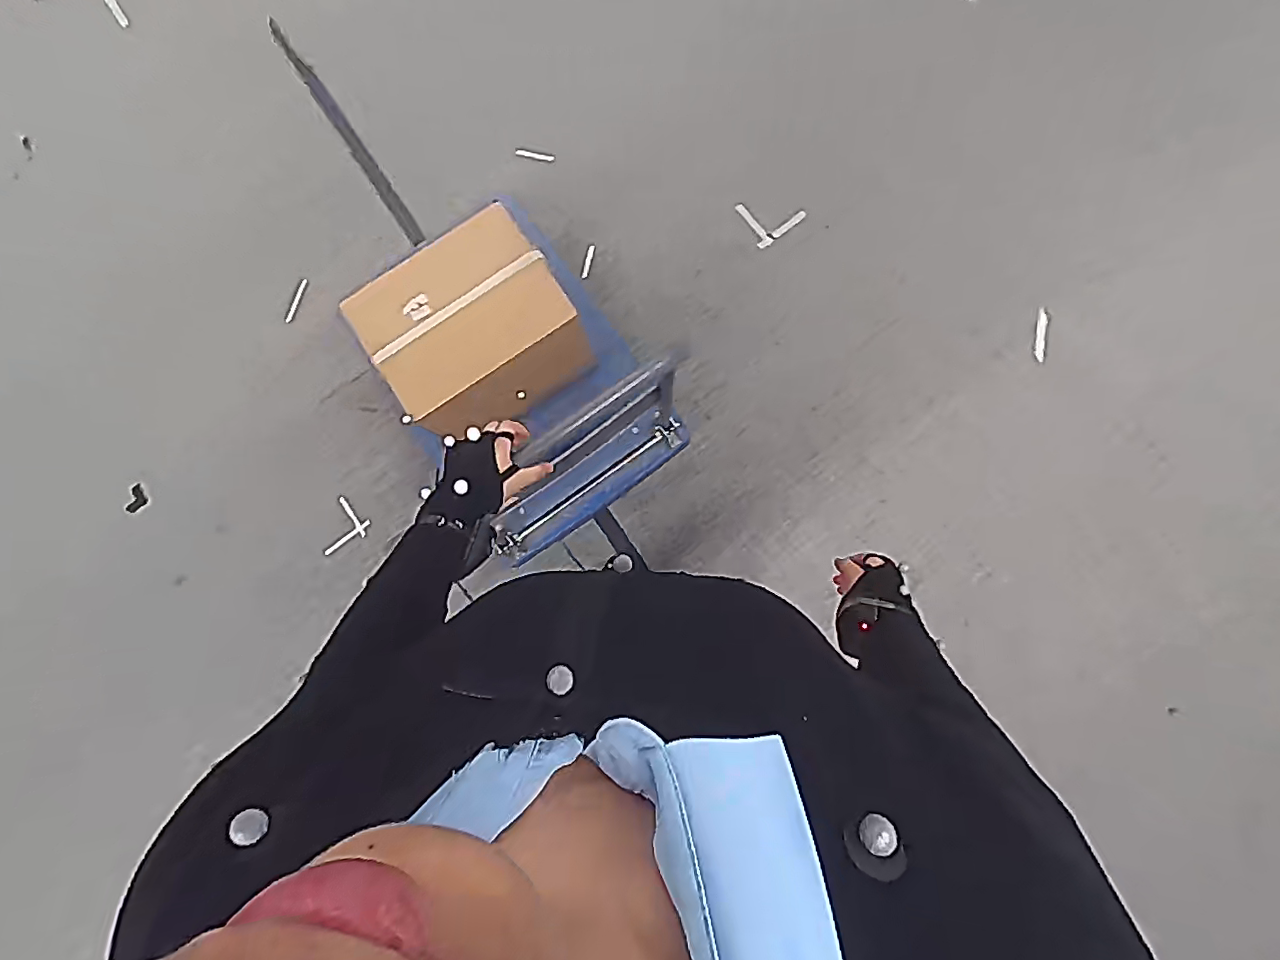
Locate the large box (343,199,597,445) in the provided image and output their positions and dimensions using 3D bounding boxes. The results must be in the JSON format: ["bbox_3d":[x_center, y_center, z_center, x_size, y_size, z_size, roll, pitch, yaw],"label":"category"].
[{"bbox_3d":[-0.362,-0.336,1.250,0.408,0.320,0.320,-34,82,-1],"label":"large box"}]
